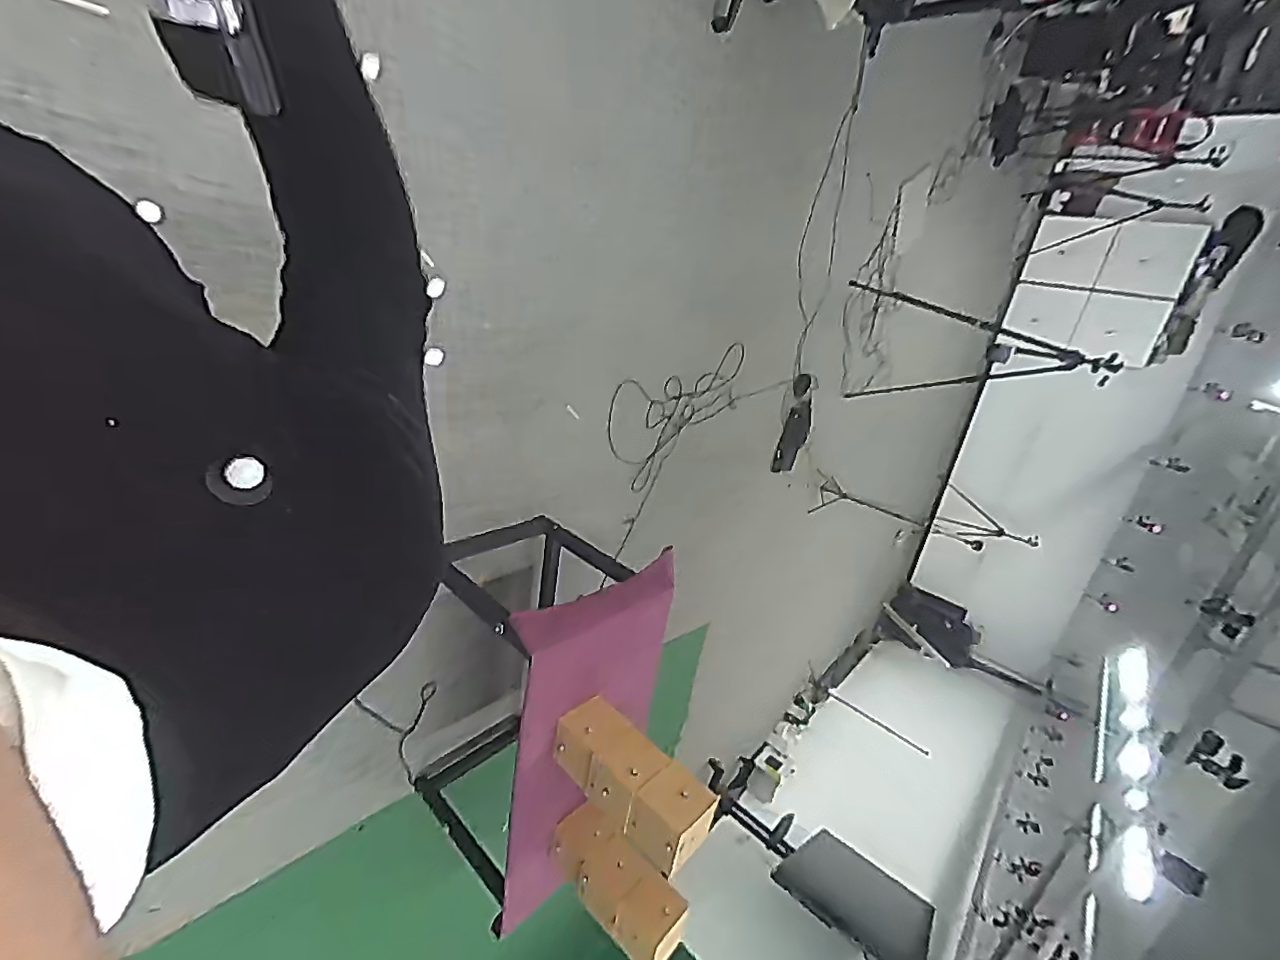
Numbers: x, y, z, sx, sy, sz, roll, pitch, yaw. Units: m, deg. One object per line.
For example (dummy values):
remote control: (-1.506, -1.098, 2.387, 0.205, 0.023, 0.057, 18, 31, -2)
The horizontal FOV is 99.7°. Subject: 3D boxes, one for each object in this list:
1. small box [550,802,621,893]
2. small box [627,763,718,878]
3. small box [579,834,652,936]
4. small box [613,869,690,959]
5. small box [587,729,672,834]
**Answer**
small box: (-0.196, 1.305, 1.935, 0.179, 0.176, 0.168, -10, 116, -48)
small box: (0.090, 0.944, 1.519, 0.179, 0.176, 0.168, -14, 120, -47)
small box: (-0.087, 1.358, 1.825, 0.179, 0.176, 0.168, -15, 120, -48)
small box: (0.033, 1.416, 1.732, 0.179, 0.176, 0.168, -14, 120, -48)
small box: (-0.035, 0.888, 1.610, 0.179, 0.176, 0.168, -11, 119, -48)
